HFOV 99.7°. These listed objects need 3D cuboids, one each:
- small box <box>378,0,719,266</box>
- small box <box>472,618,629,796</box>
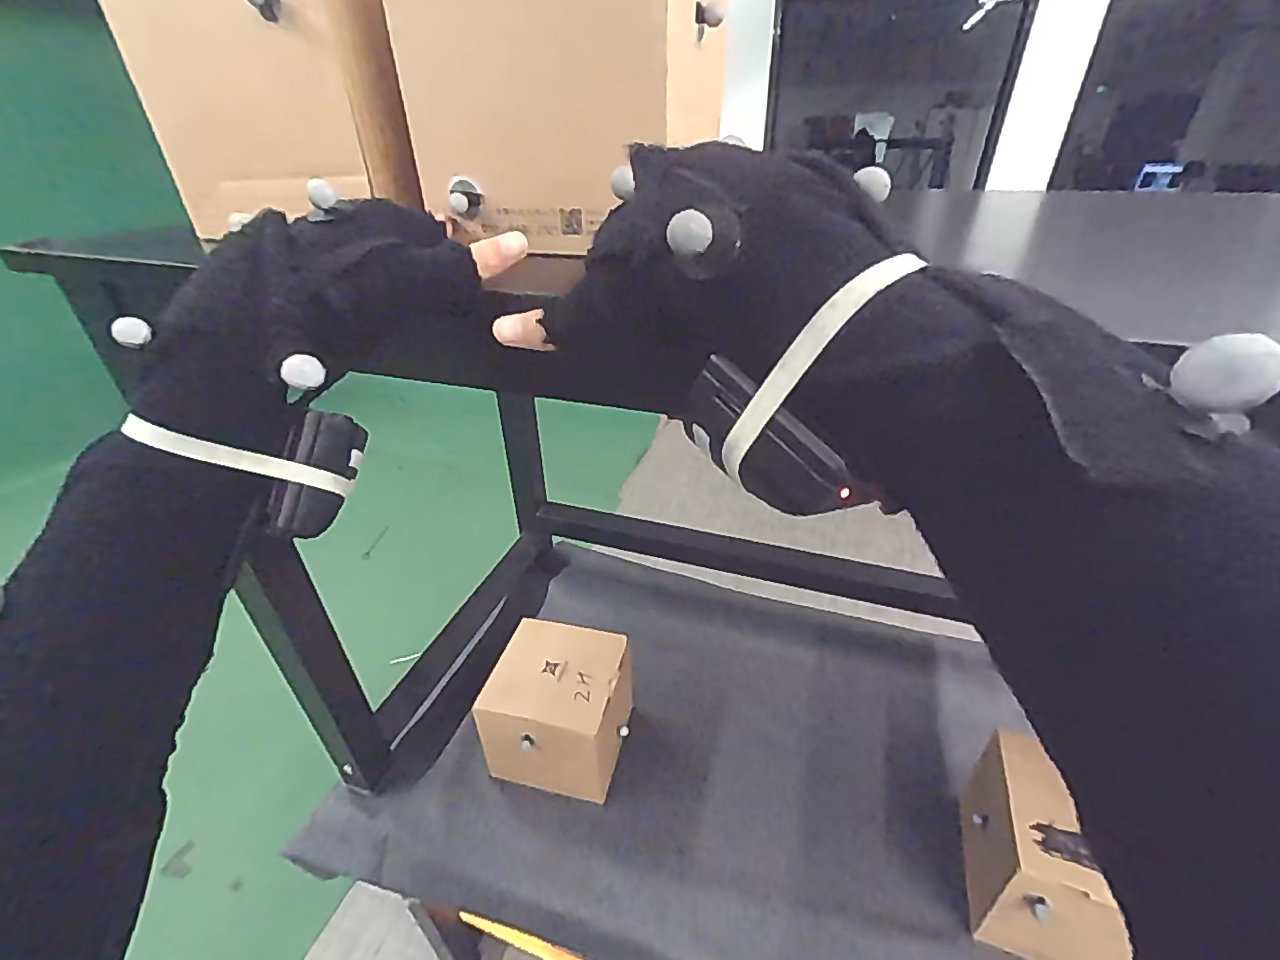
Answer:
[{"bbox_3d":[-0.041,-0.252,0.375,0.168,0.176,0.179,8,33,14],"label":"small box"},{"bbox_3d":[-0.121,0.337,0.809,0.179,0.176,0.168,8,34,12],"label":"small box"}]
